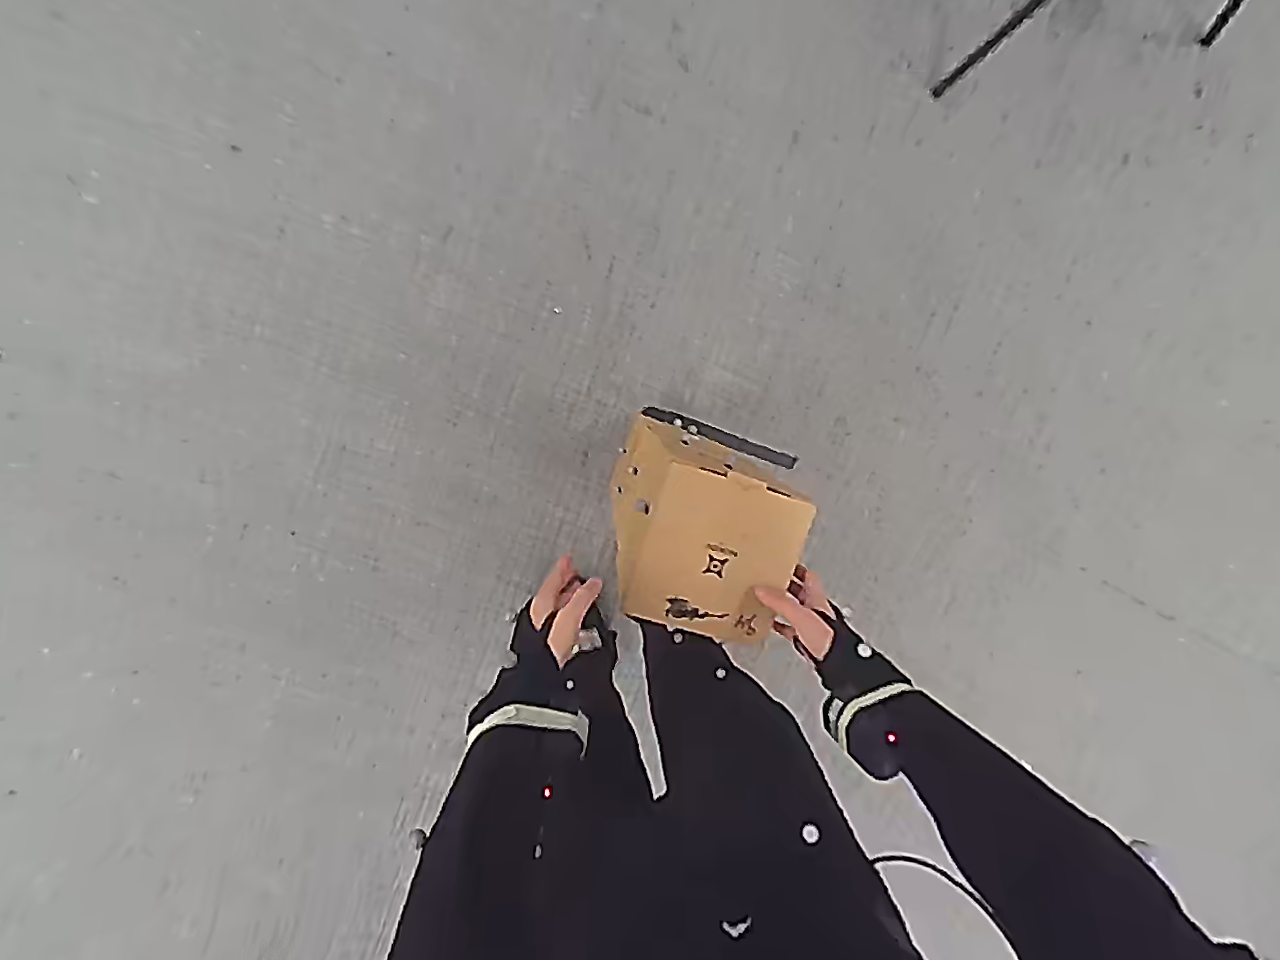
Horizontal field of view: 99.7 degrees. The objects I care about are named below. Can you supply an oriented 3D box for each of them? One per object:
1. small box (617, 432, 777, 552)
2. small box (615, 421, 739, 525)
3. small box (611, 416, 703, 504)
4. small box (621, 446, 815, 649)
[{"bbox_3d":[0.073,0.033,0.810,0.179,0.176,0.168,18,99,-7],"label":"small box"},{"bbox_3d":[0.058,0.004,0.969,0.168,0.176,0.179,18,98,-8],"label":"small box"},{"bbox_3d":[0.045,-0.024,1.128,0.168,0.176,0.179,19,98,-7],"label":"small box"},{"bbox_3d":[0.077,0.067,0.649,0.168,0.176,0.179,17,99,-7],"label":"small box"}]
